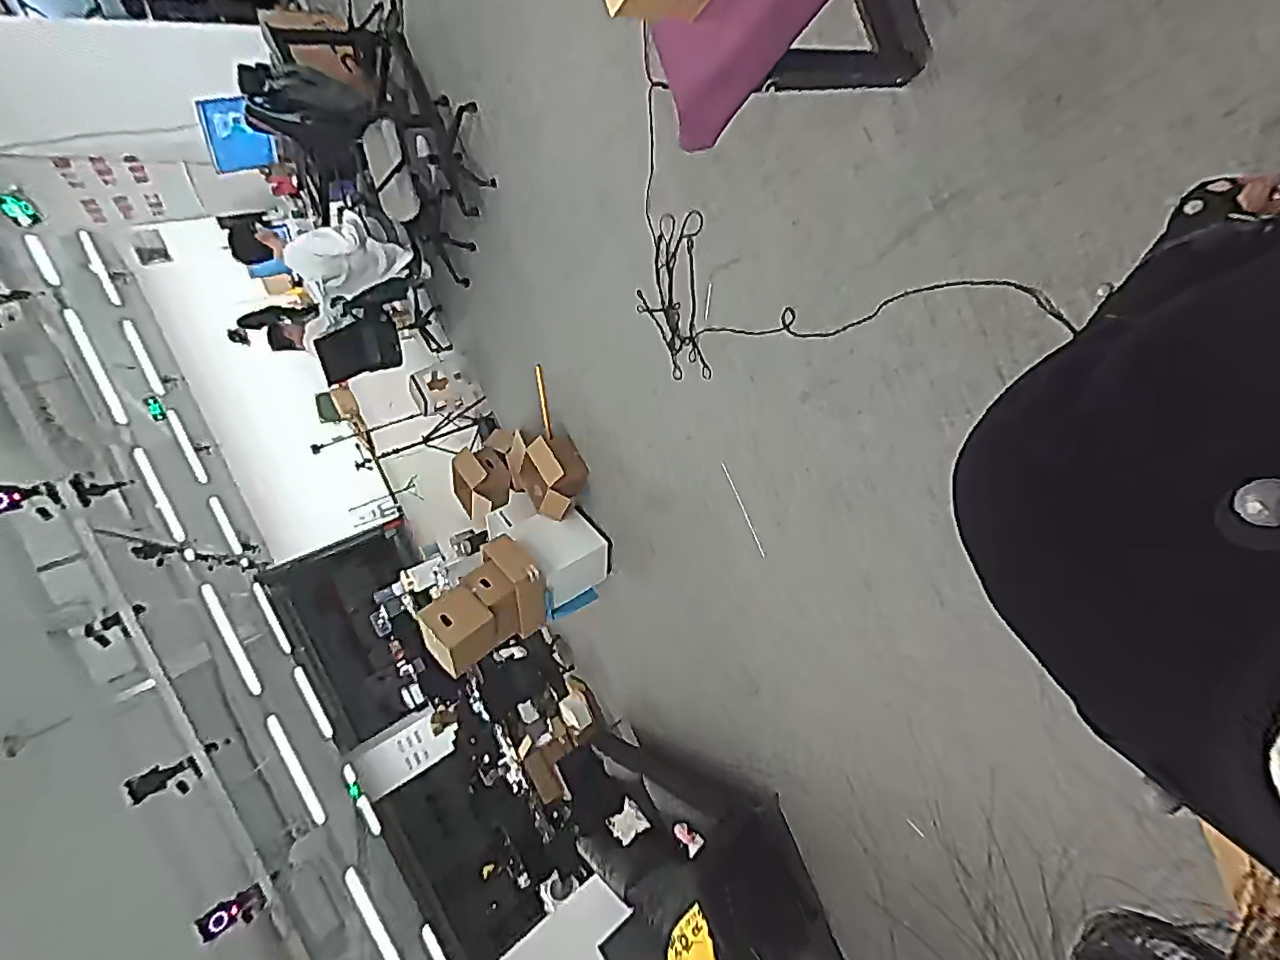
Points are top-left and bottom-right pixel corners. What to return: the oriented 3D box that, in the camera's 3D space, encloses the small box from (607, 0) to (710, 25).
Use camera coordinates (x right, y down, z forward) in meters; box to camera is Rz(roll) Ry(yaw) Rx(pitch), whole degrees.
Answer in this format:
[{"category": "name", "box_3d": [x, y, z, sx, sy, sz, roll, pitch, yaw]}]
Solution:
[{"category": "small box", "box_3d": [0.041, -0.798, 0.769, 0.168, 0.176, 0.179, -2, 111, 57]}]
